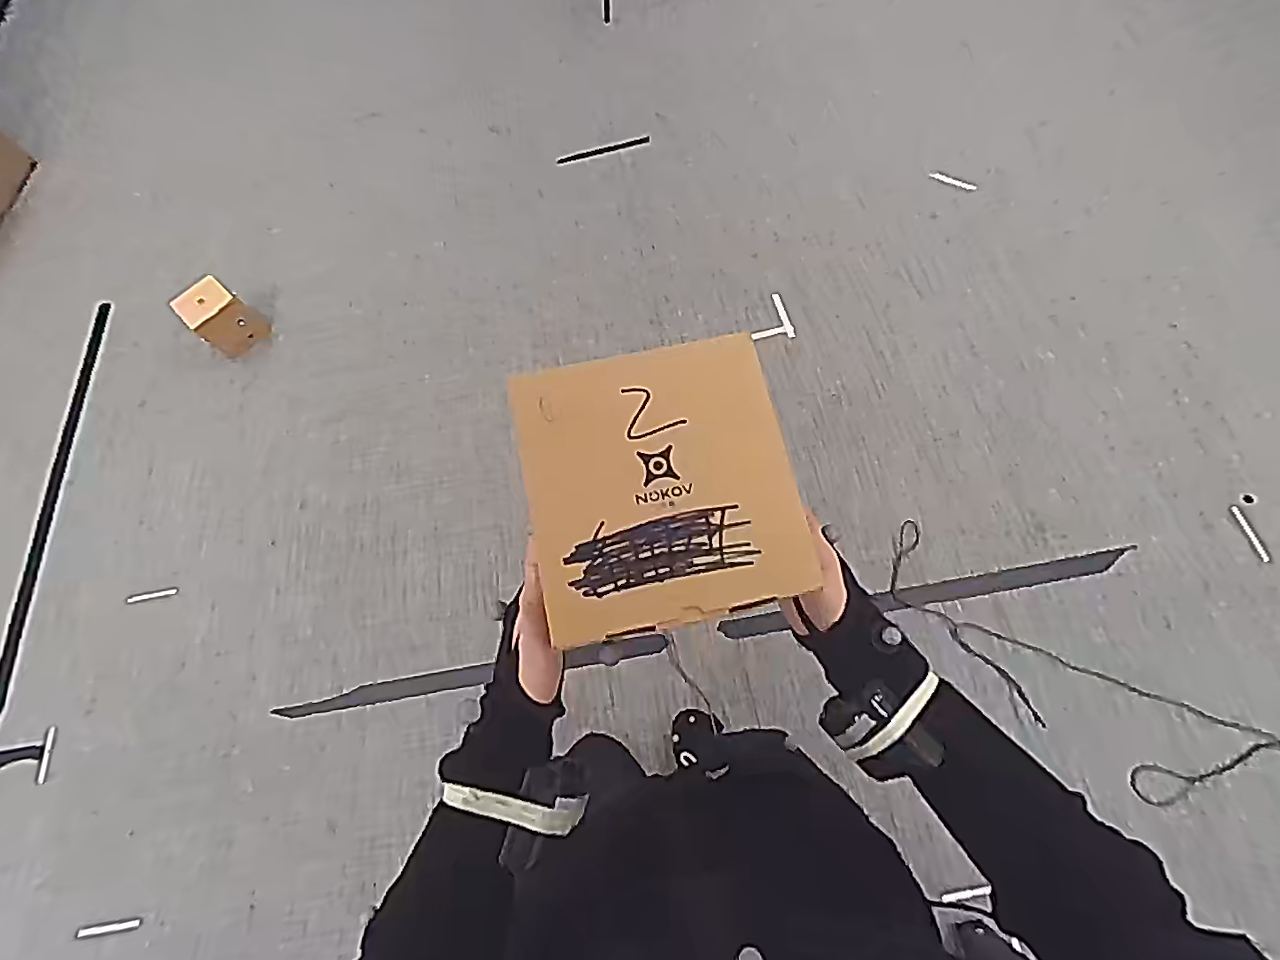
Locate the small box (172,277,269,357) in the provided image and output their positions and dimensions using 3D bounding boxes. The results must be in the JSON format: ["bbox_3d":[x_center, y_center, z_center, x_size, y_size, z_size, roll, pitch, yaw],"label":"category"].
[{"bbox_3d":[-1.441,-0.554,1.869,0.179,0.176,0.168,38,76,21],"label":"small box"}]
